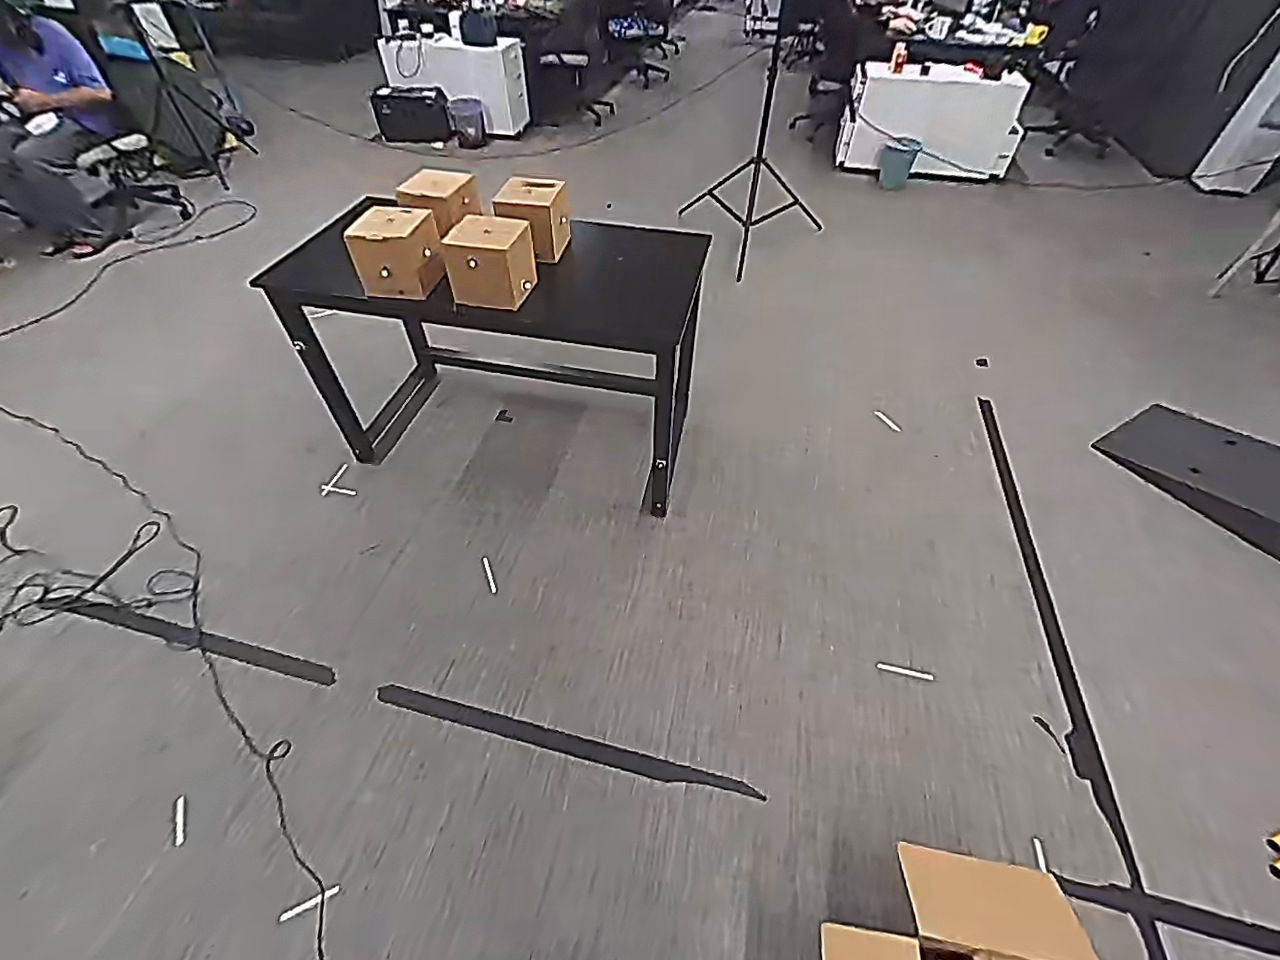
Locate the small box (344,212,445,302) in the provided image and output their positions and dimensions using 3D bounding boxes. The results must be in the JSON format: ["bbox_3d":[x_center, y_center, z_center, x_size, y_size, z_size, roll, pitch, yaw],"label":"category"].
[{"bbox_3d":[-0.643,-0.594,1.444,0.168,0.176,0.179,5,48,4],"label":"small box"}]

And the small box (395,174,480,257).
[{"bbox_3d":[-0.594,-0.791,1.623,0.168,0.176,0.179,11,49,9],"label":"small box"}]

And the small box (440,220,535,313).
[{"bbox_3d":[-0.390,-0.558,1.416,0.179,0.176,0.168,9,49,7],"label":"small box"}]
